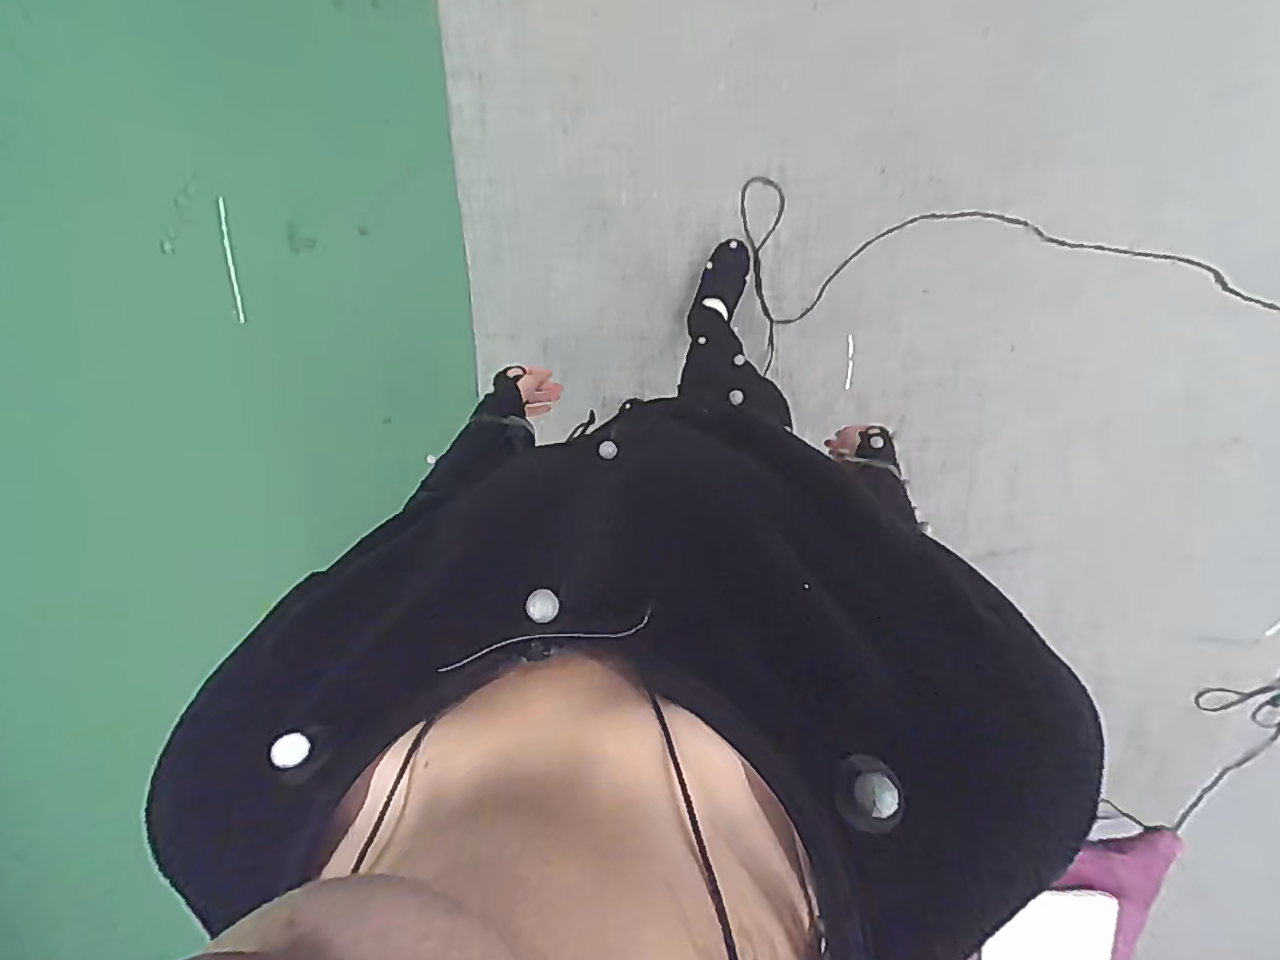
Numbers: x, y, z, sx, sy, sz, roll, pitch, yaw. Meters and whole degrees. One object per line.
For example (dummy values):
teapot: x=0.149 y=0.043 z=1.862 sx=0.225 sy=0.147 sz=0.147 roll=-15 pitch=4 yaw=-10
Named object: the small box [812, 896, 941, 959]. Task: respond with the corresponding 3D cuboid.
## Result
small box: x=0.377 y=0.803 z=0.852 sx=0.168 sy=0.176 sz=0.179 roll=2 pitch=105 yaw=5
